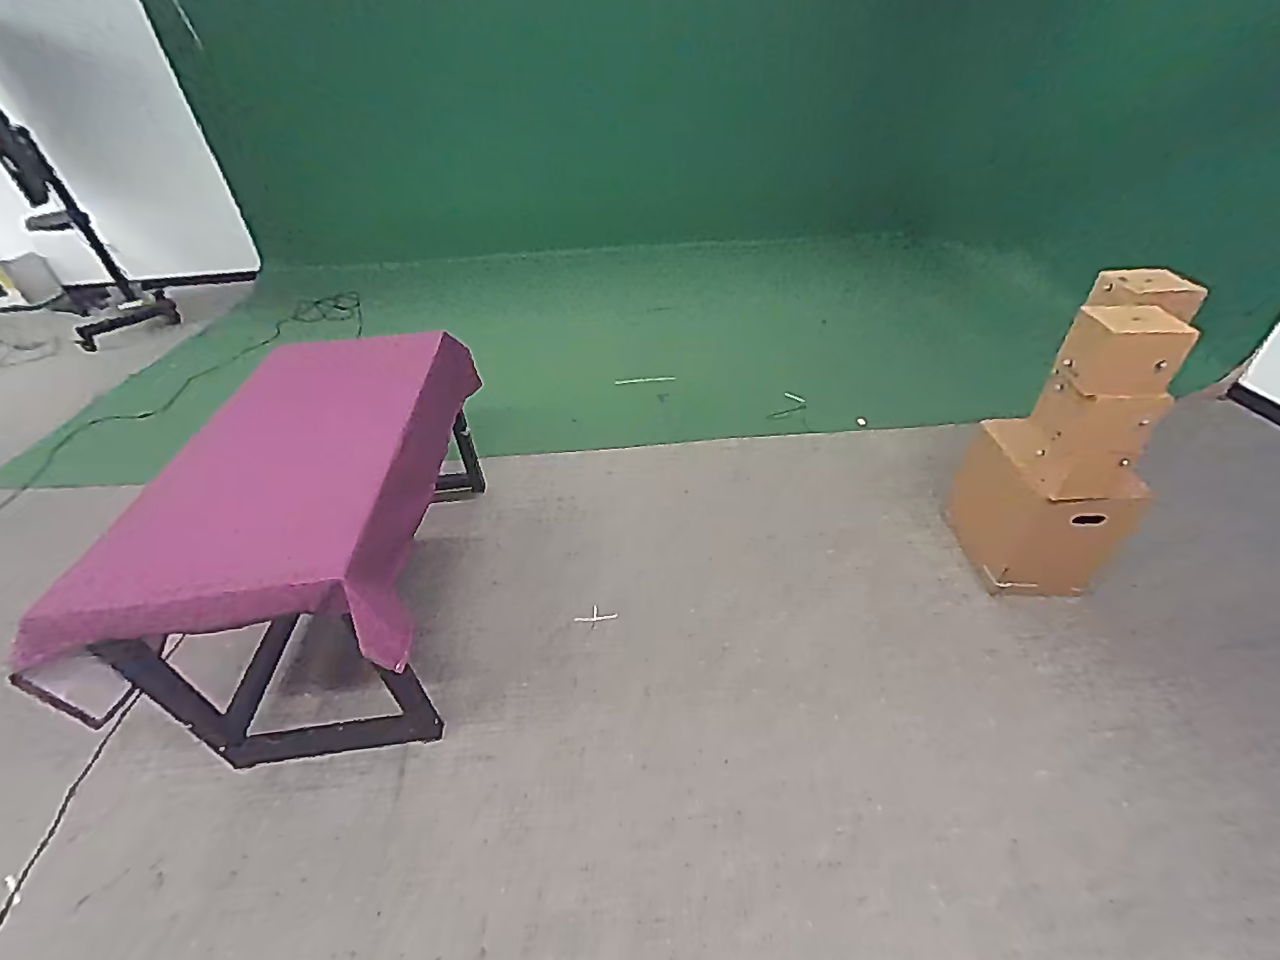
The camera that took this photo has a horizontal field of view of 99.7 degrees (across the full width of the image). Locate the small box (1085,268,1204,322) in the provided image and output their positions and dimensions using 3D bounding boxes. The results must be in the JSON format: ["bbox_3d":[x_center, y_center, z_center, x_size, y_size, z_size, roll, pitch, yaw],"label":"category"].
[{"bbox_3d":[1.378,-0.479,1.510,0.179,0.176,0.168,0,39,3],"label":"small box"}]

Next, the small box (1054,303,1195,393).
[{"bbox_3d":[1.186,-0.326,1.343,0.179,0.176,0.168,2,39,8],"label":"small box"}]

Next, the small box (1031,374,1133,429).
[{"bbox_3d":[1.386,-0.219,1.713,0.168,0.176,0.179,2,41,8],"label":"small box"}]

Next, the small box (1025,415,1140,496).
[{"bbox_3d":[1.239,-0.066,1.538,0.179,0.176,0.168,-3,39,1],"label":"small box"}]

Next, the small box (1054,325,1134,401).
[{"bbox_3d":[1.380,-0.349,1.612,0.179,0.176,0.168,4,40,8],"label":"small box"}]
